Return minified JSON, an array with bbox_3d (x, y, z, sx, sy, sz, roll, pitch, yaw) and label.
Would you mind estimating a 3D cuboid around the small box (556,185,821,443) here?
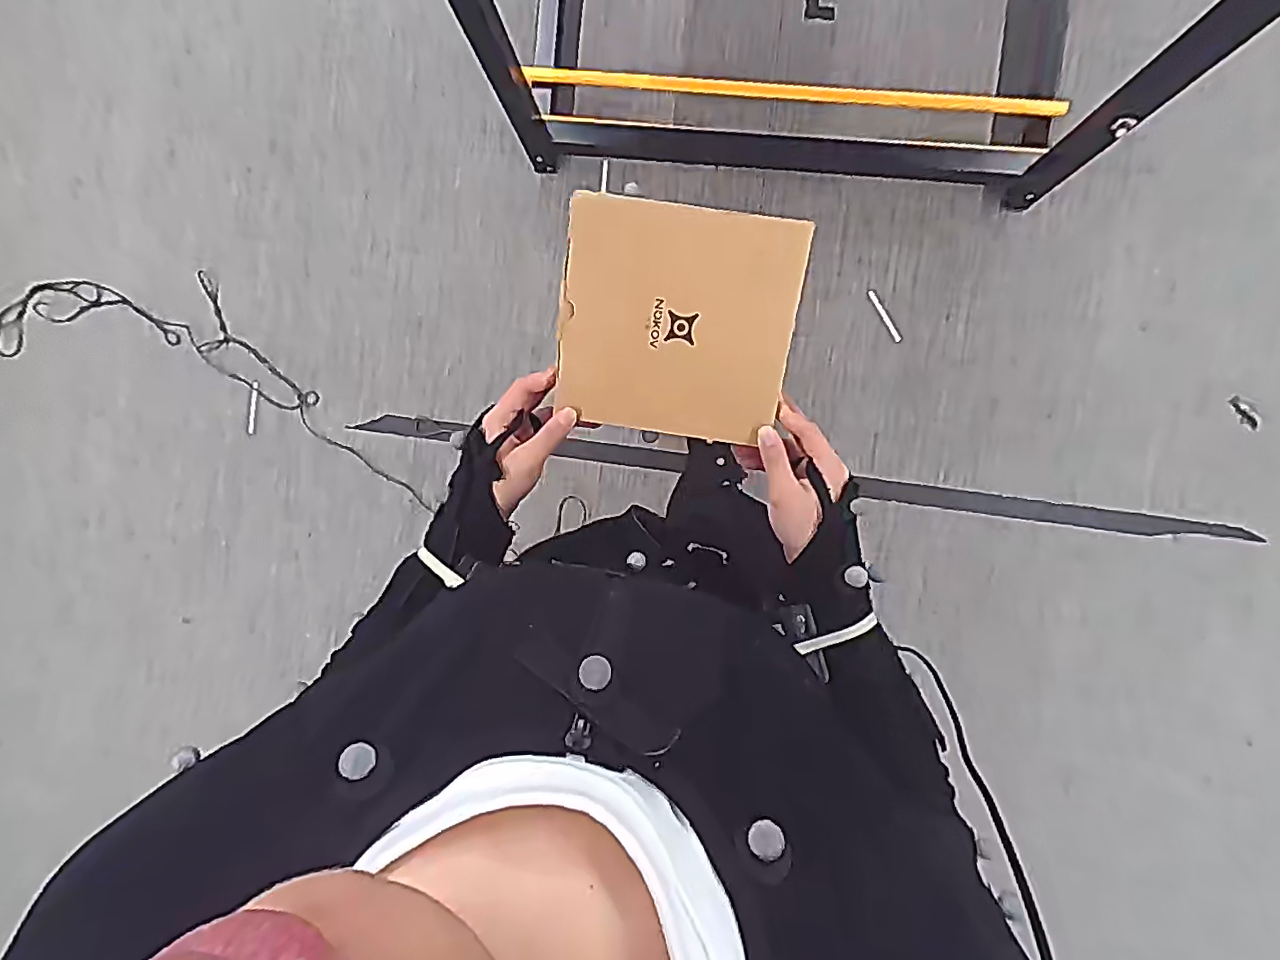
[{"bbox_3d":[0.035,-0.140,0.474,0.179,0.176,0.168,8,107,2],"label":"small box"}]
